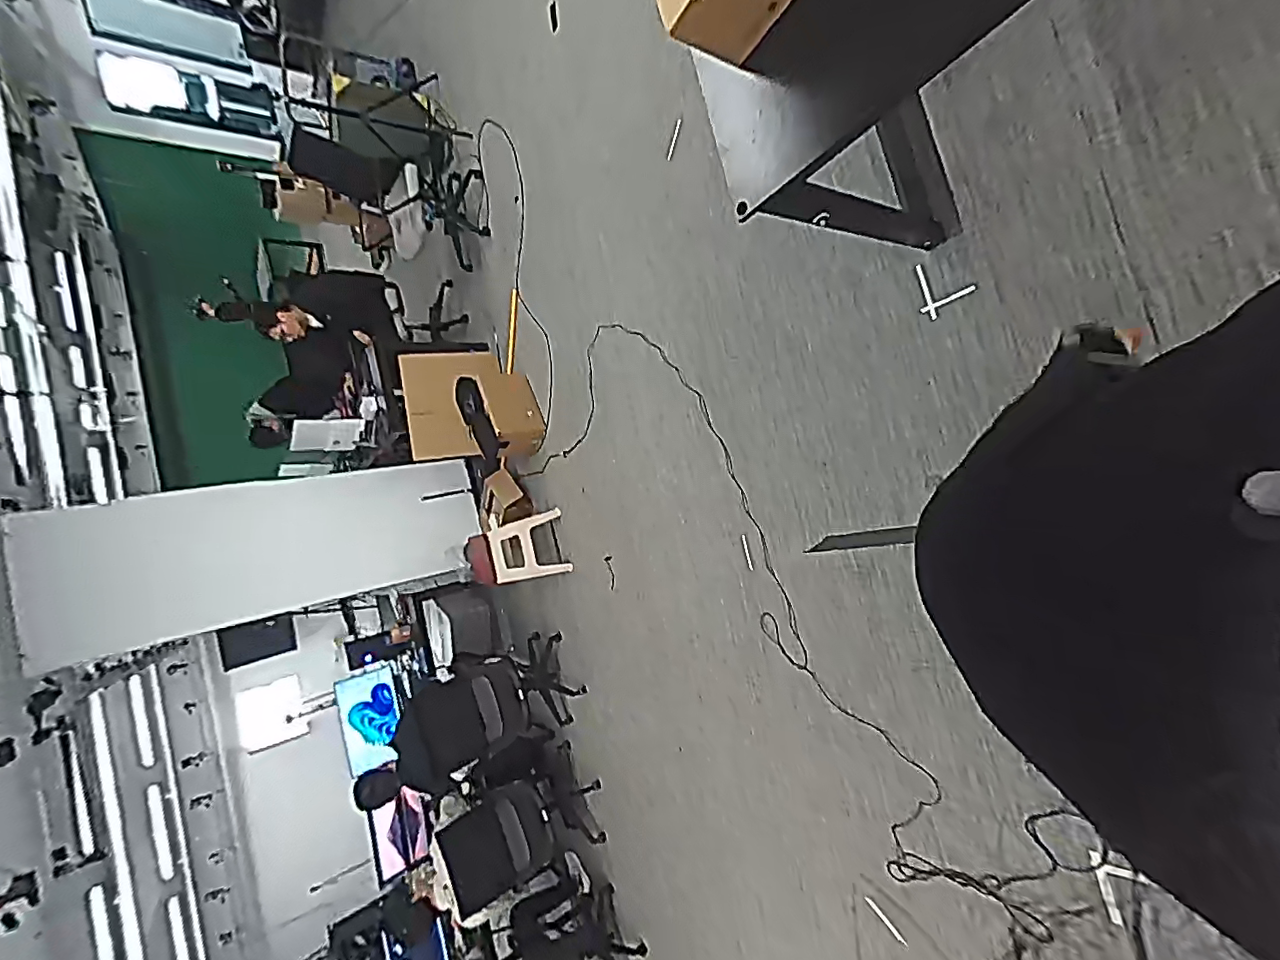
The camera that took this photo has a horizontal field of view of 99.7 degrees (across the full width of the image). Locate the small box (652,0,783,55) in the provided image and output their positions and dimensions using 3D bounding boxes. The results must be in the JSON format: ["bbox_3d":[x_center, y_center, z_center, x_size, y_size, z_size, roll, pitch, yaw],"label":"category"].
[{"bbox_3d":[0.121,-0.805,0.832,0.168,0.176,0.179,-26,77,51],"label":"small box"}]
